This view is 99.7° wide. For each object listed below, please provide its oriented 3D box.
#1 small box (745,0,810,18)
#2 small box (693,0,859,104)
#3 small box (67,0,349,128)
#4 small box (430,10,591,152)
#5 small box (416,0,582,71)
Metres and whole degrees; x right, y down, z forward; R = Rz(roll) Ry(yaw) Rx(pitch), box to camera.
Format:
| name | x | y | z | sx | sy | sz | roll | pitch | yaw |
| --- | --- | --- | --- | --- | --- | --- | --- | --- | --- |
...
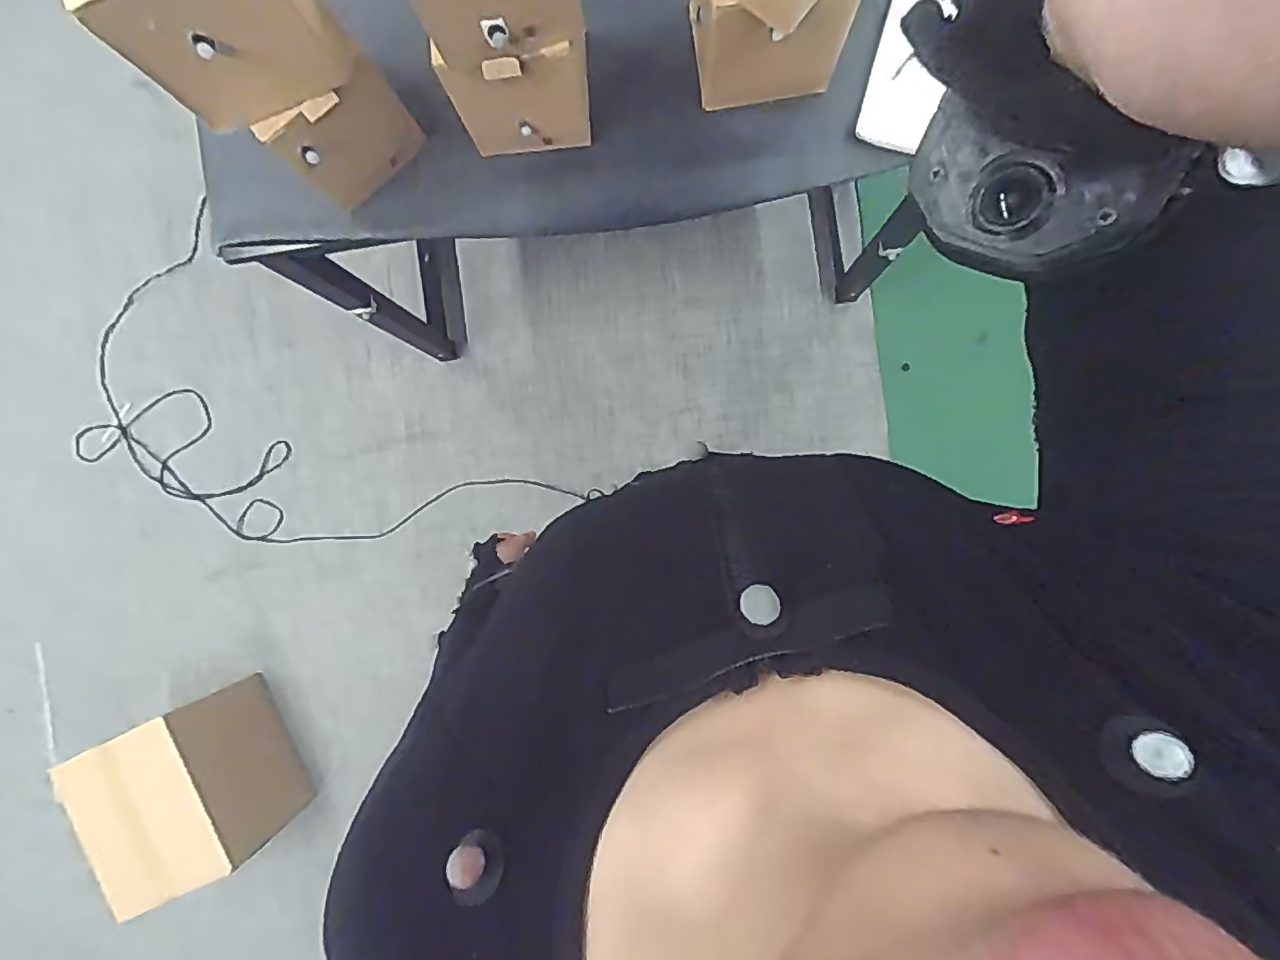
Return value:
| name | x | y | z | sx | sy | sz | roll | pitch | yaw |
| --- | --- | --- | --- | --- | --- | --- | --- | --- | --- |
| small box | 0.141 | -0.619 | 0.527 | 0.179 | 0.176 | 0.168 | 39 | 92 | 4 |
| small box | 0.165 | -0.627 | 0.690 | 0.179 | 0.176 | 0.168 | -8 | 88 | 5 |
| small box | -0.452 | -0.518 | 0.566 | 0.179 | 0.176 | 0.168 | -21 | 87 | 4 |
| small box | -0.162 | -0.573 | 0.711 | 0.168 | 0.176 | 0.179 | -4 | 88 | 5 |
| small box | -0.169 | -0.577 | 0.549 | 0.168 | 0.176 | 0.179 | -15 | 88 | 5 |
